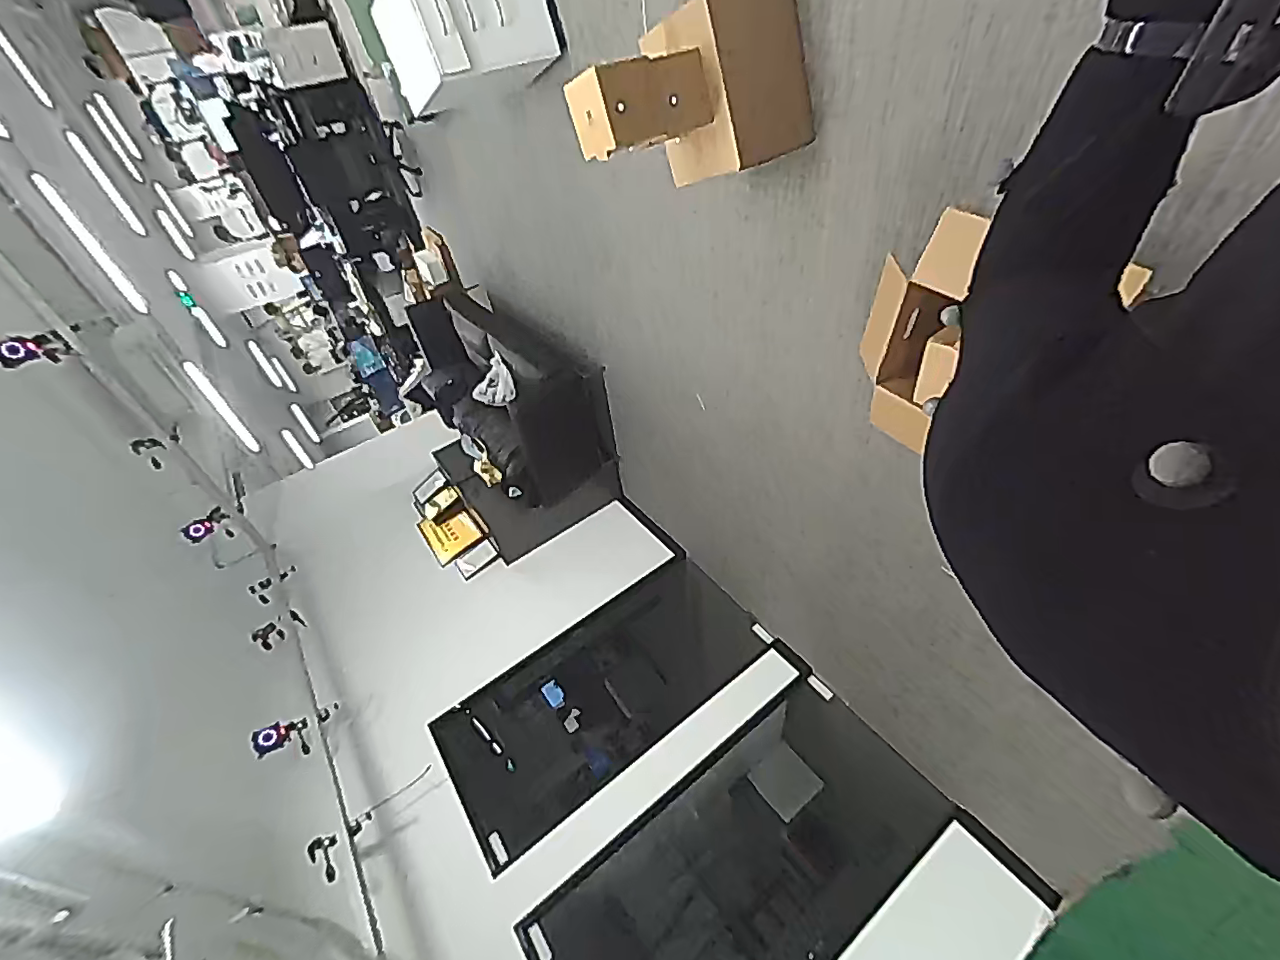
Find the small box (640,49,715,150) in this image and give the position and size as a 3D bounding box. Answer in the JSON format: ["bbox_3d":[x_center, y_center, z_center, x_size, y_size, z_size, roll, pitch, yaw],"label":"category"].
[{"bbox_3d":[0.085,-1.042,1.485,0.168,0.176,0.179,25,141,53],"label":"small box"}]

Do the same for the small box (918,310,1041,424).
[{"bbox_3d":[0.791,-0.268,1.264,0.168,0.176,0.179,38,151,39],"label":"small box"}]

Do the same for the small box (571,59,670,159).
[{"bbox_3d":[-0.047,-0.974,1.419,0.168,0.176,0.179,26,142,53],"label":"small box"}]
